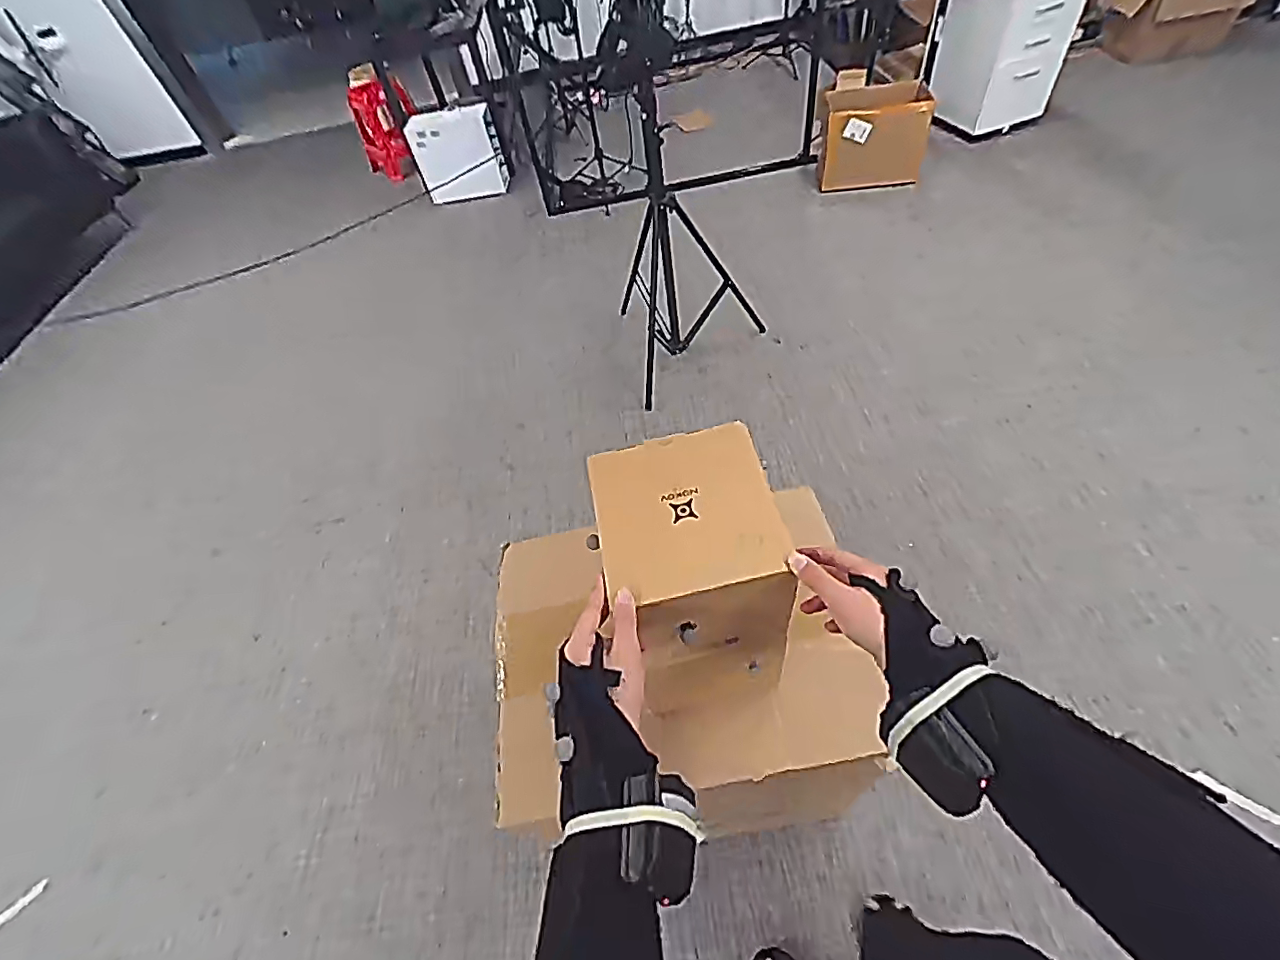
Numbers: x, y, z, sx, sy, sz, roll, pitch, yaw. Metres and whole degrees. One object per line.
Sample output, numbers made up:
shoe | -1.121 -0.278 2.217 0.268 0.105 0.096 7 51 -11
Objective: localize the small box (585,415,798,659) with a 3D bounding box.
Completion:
small box | 0.050 0.067 0.552 0.168 0.176 0.179 -14 52 0
